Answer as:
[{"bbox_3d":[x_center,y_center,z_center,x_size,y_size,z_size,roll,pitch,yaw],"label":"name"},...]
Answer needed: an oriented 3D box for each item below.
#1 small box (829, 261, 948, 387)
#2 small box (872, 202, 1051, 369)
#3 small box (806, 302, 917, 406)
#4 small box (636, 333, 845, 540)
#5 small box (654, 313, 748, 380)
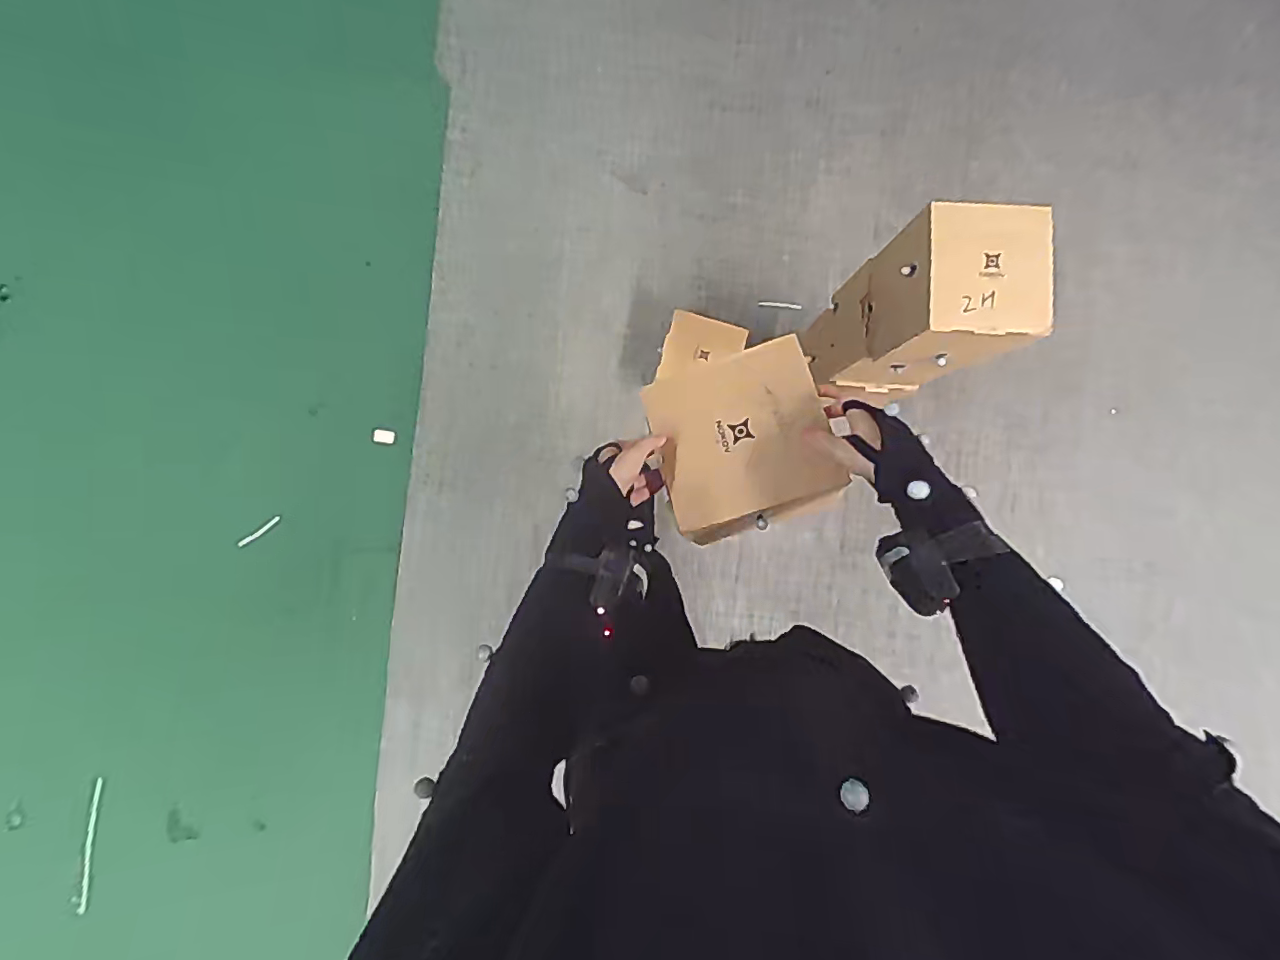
[{"bbox_3d":[0.448,-0.266,0.952,0.179,0.176,0.168,3,87,-2],"label":"small box"},{"bbox_3d":[0.455,-0.272,0.788,0.168,0.176,0.179,2,88,-1],"label":"small box"},{"bbox_3d":[0.452,-0.252,1.117,0.168,0.176,0.179,3,88,-2],"label":"small box"},{"bbox_3d":[0.114,-0.034,0.620,0.179,0.176,0.168,-18,76,10],"label":"small box"},{"bbox_3d":[0.135,-0.268,1.275,0.179,0.176,0.168,16,88,0],"label":"small box"}]
